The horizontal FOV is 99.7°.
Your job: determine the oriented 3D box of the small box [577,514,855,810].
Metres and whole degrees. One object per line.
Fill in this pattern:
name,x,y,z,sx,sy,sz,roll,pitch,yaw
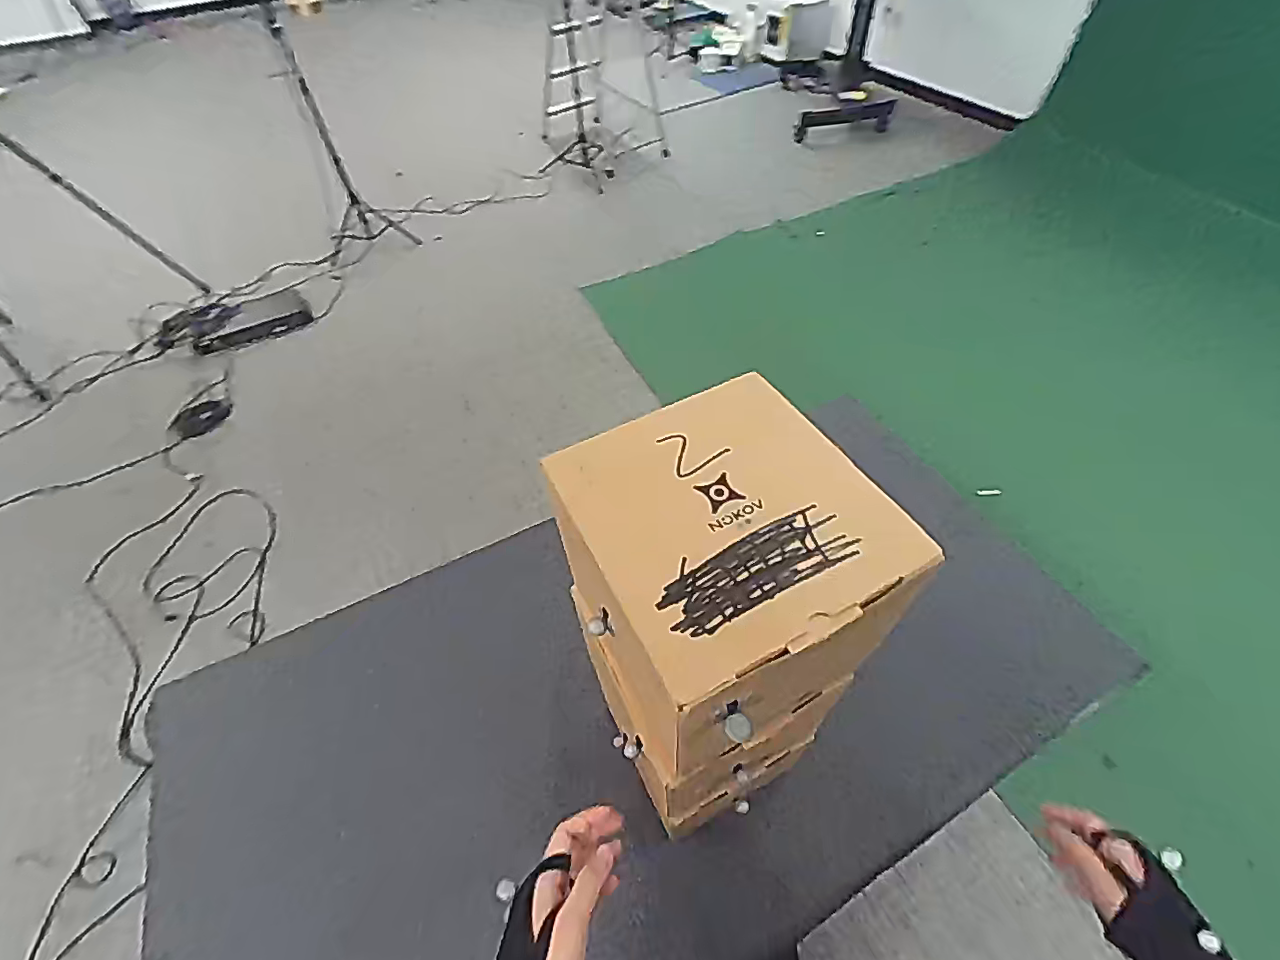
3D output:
small box,0.055,0.168,0.499,0.168,0.176,0.179,-23,55,-15

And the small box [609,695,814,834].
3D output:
small box,0.066,0.270,0.621,0.168,0.176,0.179,-24,54,-14
